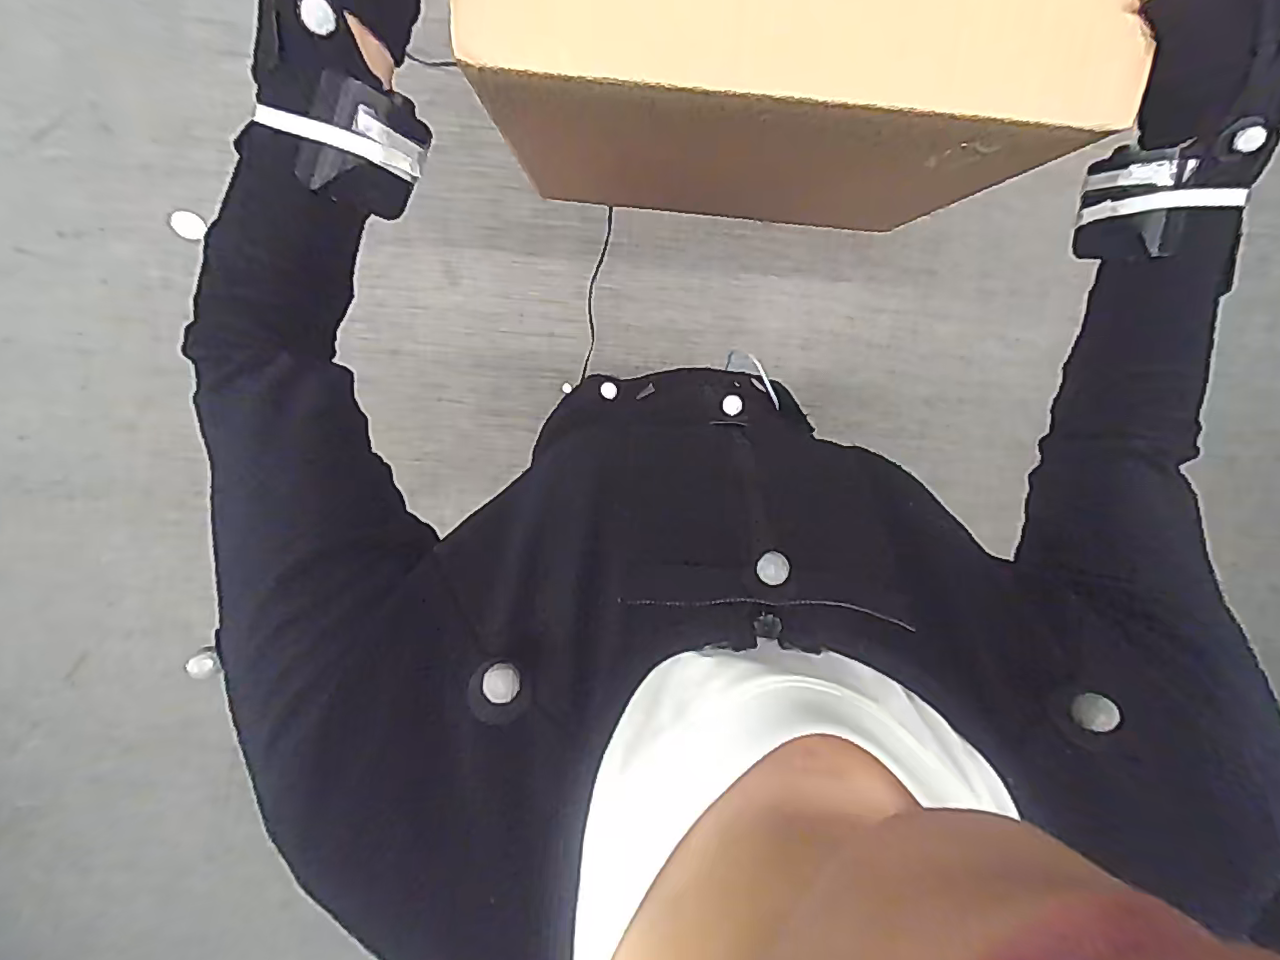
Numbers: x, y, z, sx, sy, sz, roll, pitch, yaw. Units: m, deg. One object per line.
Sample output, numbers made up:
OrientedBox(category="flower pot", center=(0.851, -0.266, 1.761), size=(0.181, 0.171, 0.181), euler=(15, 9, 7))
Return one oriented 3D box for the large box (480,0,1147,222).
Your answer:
OrientedBox(category="large box", center=(0.104, -0.418, 0.437), size=(0.408, 0.320, 0.320), euler=(3, 105, -3))
